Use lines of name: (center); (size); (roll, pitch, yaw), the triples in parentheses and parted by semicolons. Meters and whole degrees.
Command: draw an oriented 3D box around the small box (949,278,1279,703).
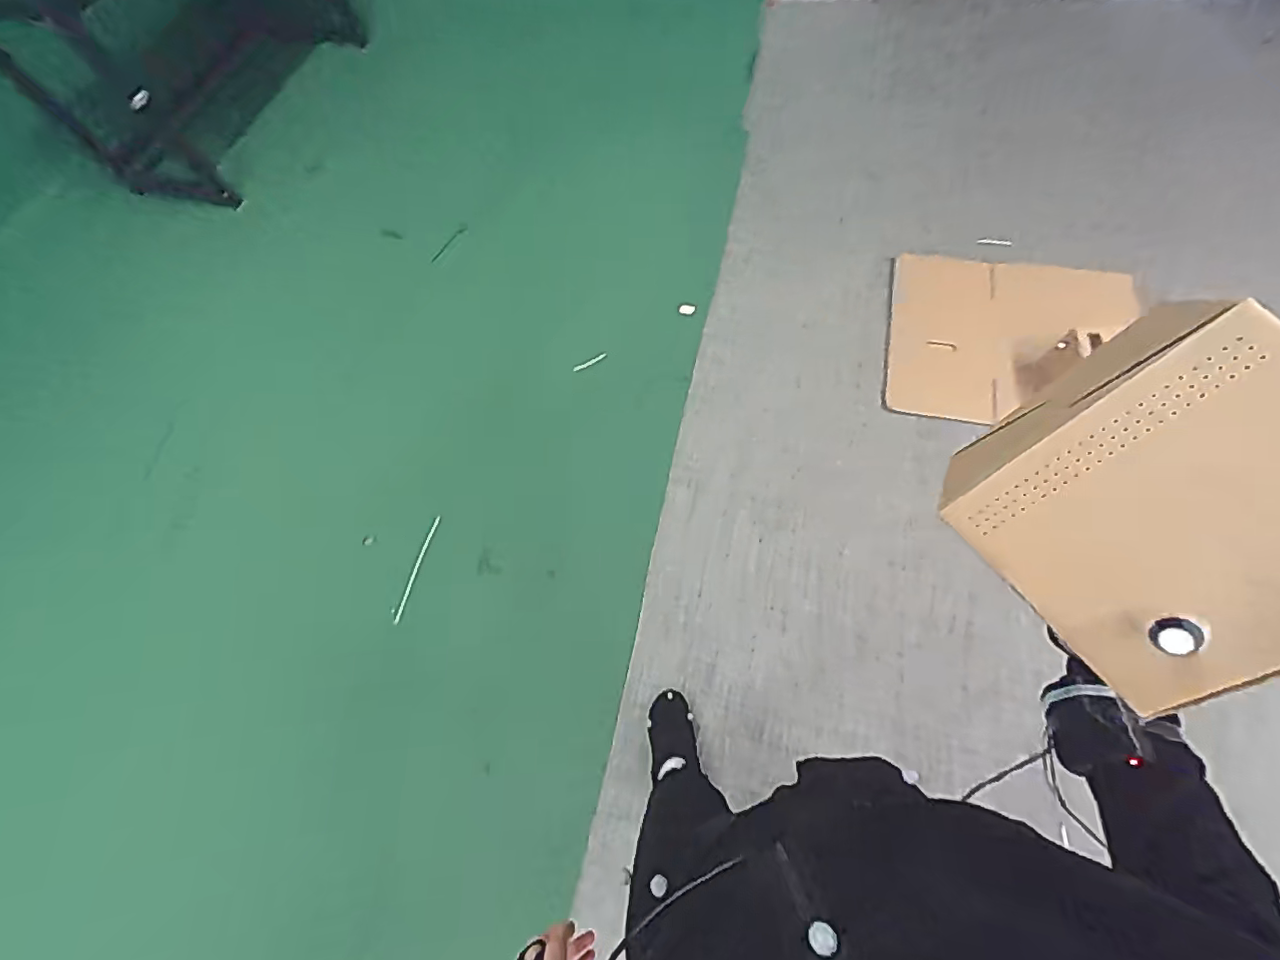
small box: (0.328, 0.000, 0.350); (0.176, 0.179, 0.168); (49, 34, 10)
